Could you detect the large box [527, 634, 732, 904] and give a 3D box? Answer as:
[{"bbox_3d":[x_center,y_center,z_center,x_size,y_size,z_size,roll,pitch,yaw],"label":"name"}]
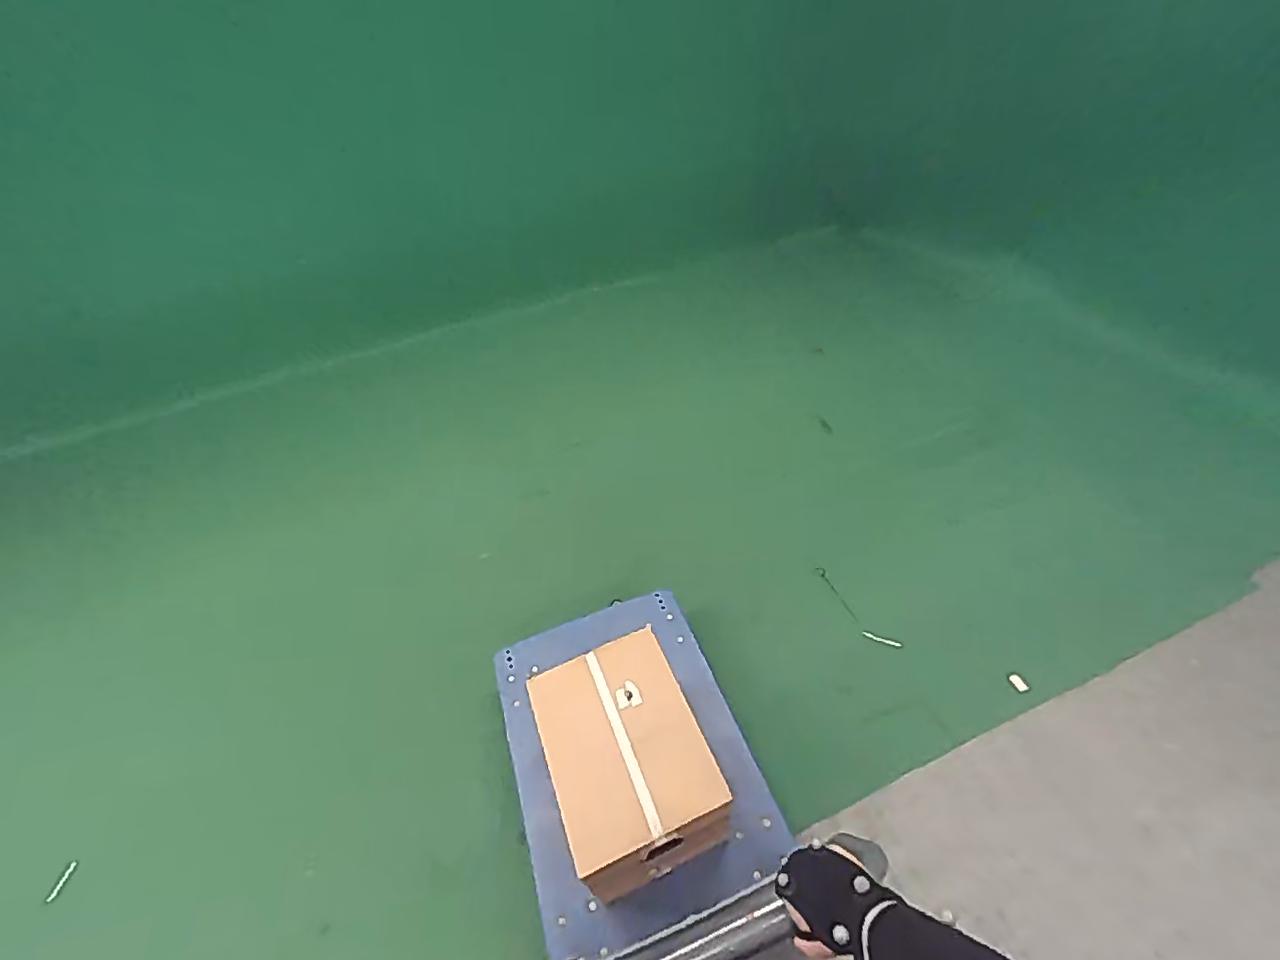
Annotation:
[{"bbox_3d":[-0.022,0.645,1.232,0.320,0.320,0.408,-21,46,-12],"label":"large box"}]
